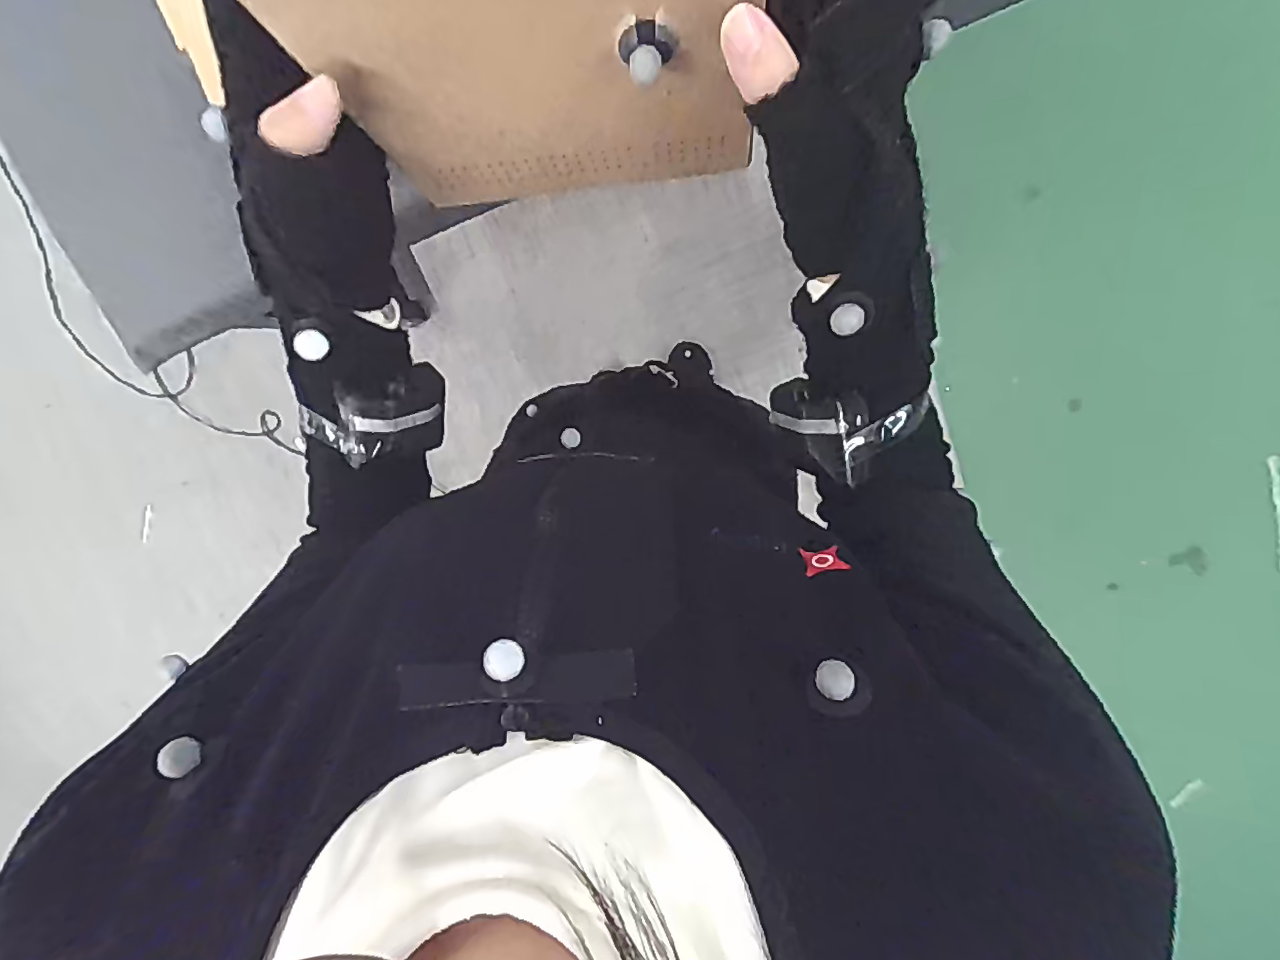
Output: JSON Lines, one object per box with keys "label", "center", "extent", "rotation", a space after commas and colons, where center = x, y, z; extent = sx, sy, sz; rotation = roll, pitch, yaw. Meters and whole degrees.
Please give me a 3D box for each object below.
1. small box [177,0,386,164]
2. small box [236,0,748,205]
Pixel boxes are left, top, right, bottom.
{"label": "small box", "center": [-0.298, -0.439, 0.519], "extent": [0.179, 0.176, 0.168], "rotation": [-19, 101, 10]}
{"label": "small box", "center": [-0.047, -0.243, 0.221], "extent": [0.179, 0.176, 0.168], "rotation": [-4, 87, 9]}
